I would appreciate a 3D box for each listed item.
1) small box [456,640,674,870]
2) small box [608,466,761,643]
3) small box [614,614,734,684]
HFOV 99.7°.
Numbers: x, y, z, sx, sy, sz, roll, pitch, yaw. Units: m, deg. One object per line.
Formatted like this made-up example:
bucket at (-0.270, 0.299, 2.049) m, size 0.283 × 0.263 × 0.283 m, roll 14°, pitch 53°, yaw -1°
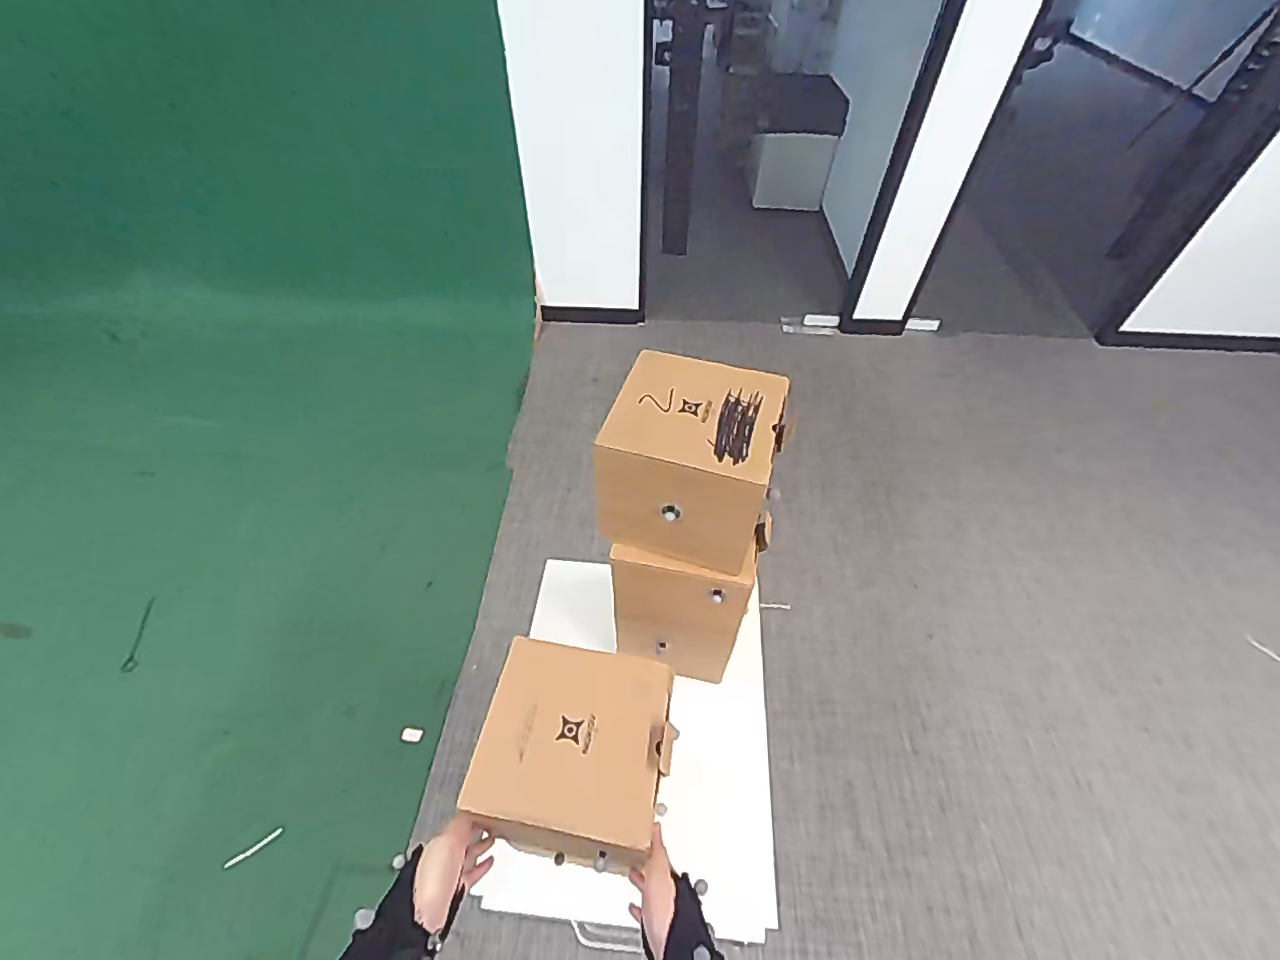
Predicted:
small box at (-0.066, 0.296, 0.578) m, size 0.179 × 0.176 × 0.168 m, roll 8°, pitch 48°, yaw 5°
small box at (0.061, 0.106, 0.747) m, size 0.179 × 0.176 × 0.168 m, roll 10°, pitch 50°, yaw 7°
small box at (0.063, 0.210, 0.872) m, size 0.179 × 0.176 × 0.168 m, roll 10°, pitch 50°, yaw 8°
